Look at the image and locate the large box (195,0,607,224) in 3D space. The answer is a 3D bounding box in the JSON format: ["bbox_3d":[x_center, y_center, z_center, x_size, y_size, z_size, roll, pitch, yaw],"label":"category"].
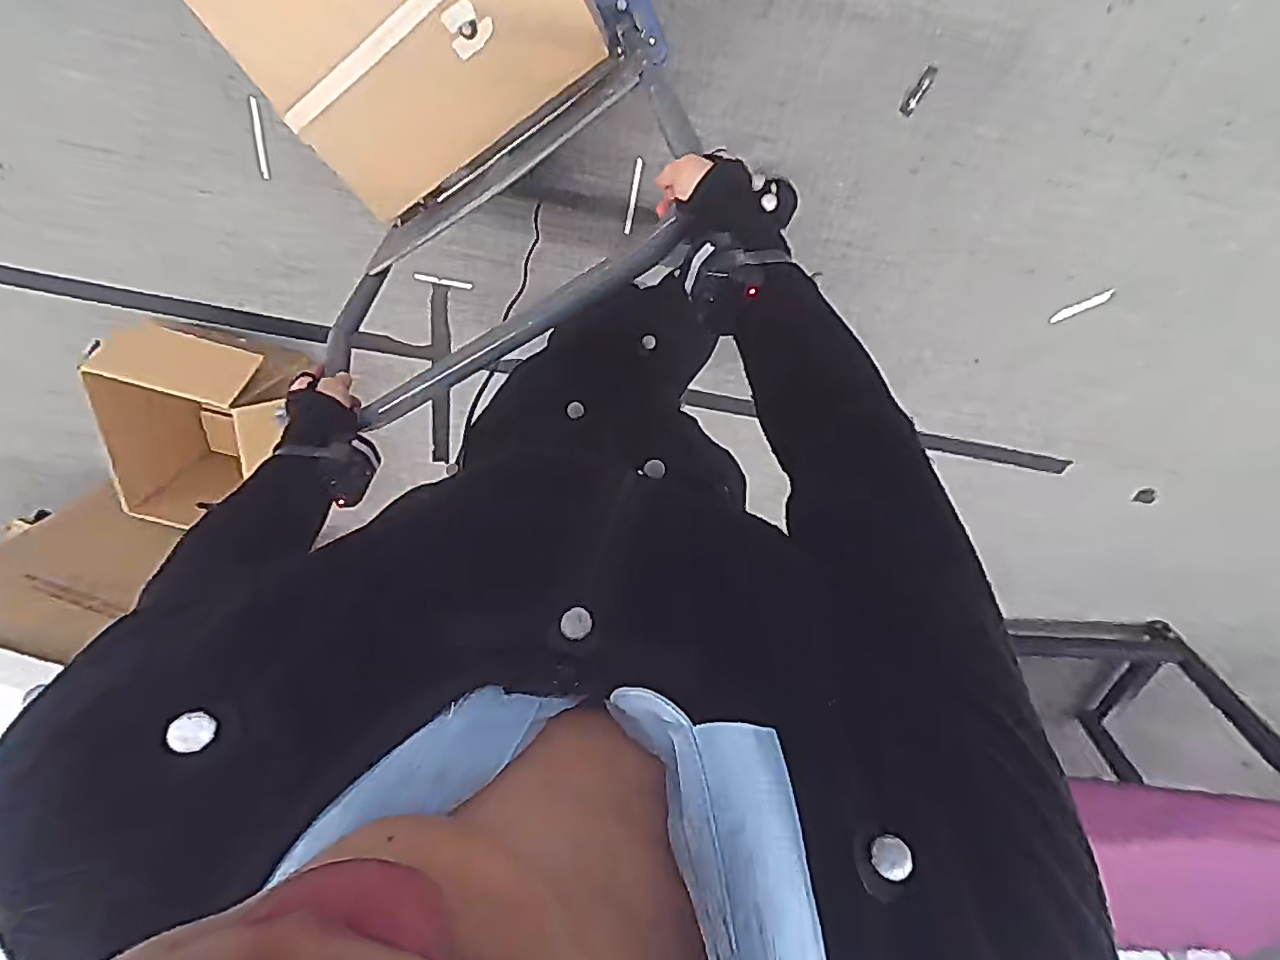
[{"bbox_3d":[-0.295,-0.659,0.773,0.408,0.320,0.320,-26,130,18],"label":"large box"}]
